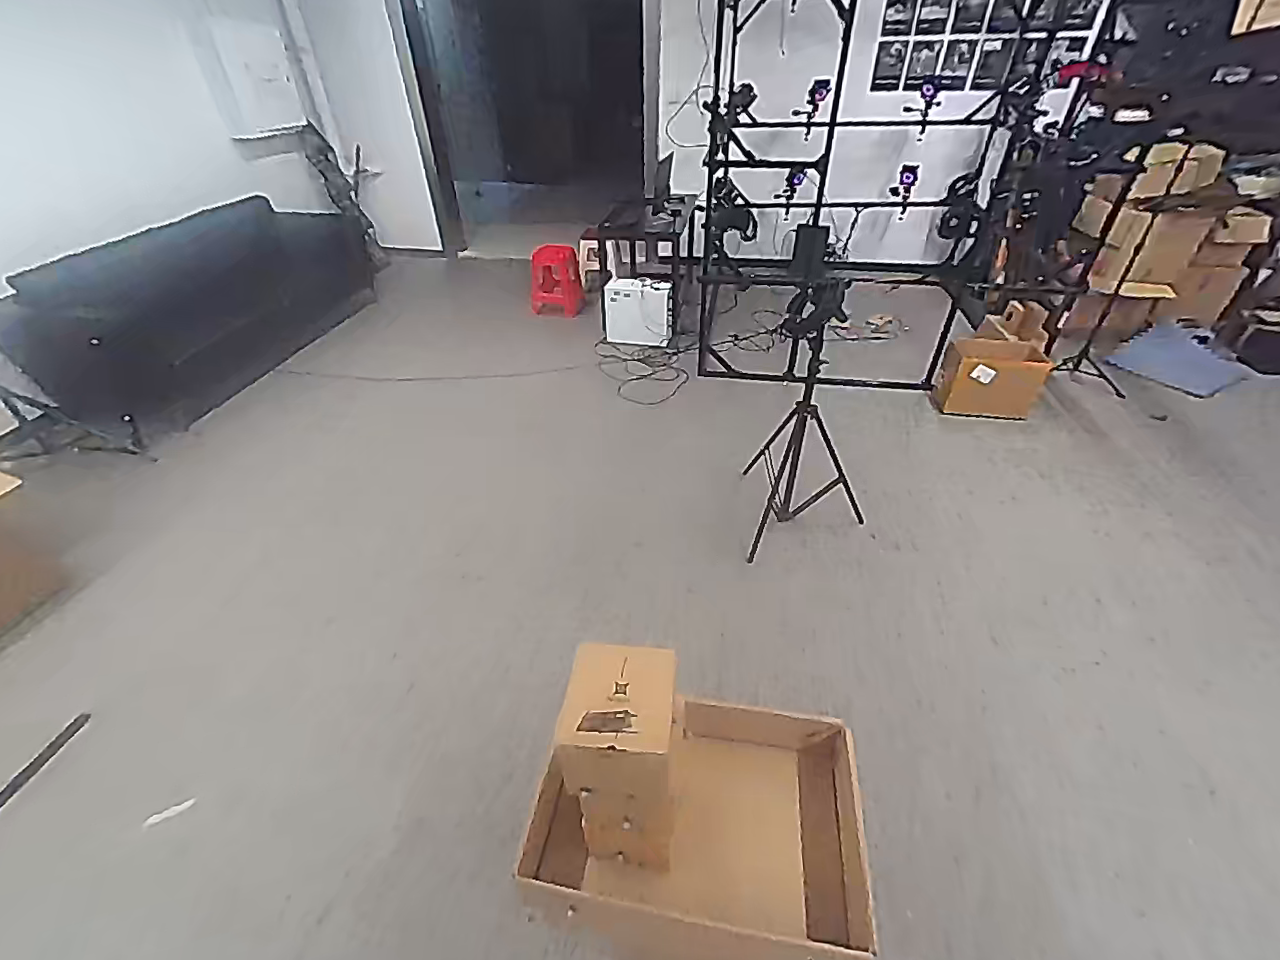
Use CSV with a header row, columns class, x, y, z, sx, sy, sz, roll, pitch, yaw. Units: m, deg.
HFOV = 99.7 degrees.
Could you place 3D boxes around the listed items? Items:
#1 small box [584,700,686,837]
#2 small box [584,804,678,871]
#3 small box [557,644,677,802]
class,x,y,z,sx,sy,sz,roll,pitch,yaw
small box,-0.008,0.516,0.990,0.168,0.176,0.179,4,39,8
small box,-0.009,0.647,1.090,0.168,0.176,0.179,5,39,9
small box,-0.027,0.395,0.879,0.168,0.176,0.179,3,38,6
